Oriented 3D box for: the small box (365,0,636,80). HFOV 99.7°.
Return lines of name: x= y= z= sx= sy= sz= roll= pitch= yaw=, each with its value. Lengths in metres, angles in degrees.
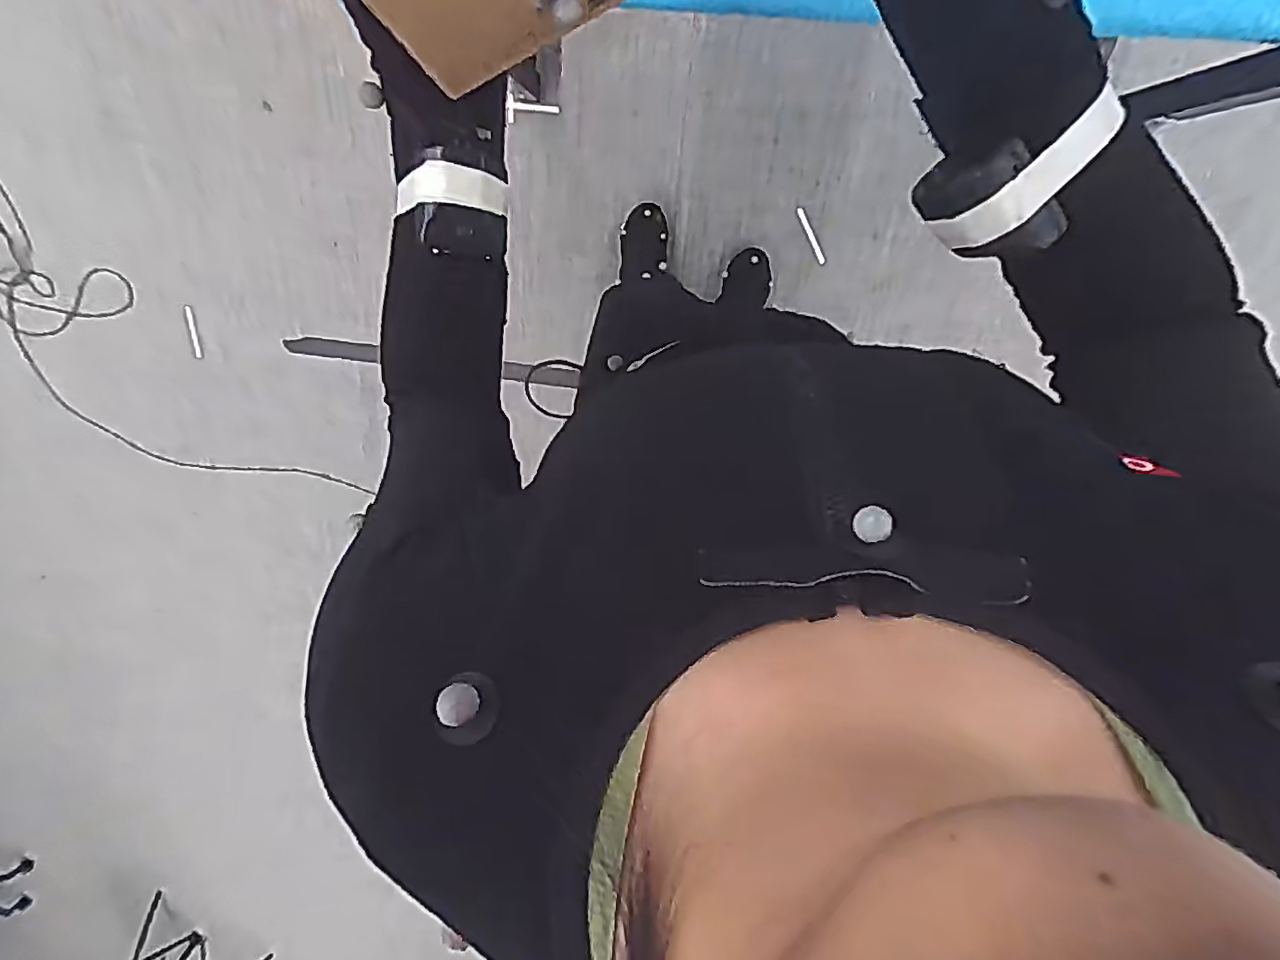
small box: x=-0.081 y=-0.315 z=0.224 sx=0.168 sy=0.176 sz=0.179 roll=-21 pitch=113 yaw=6
